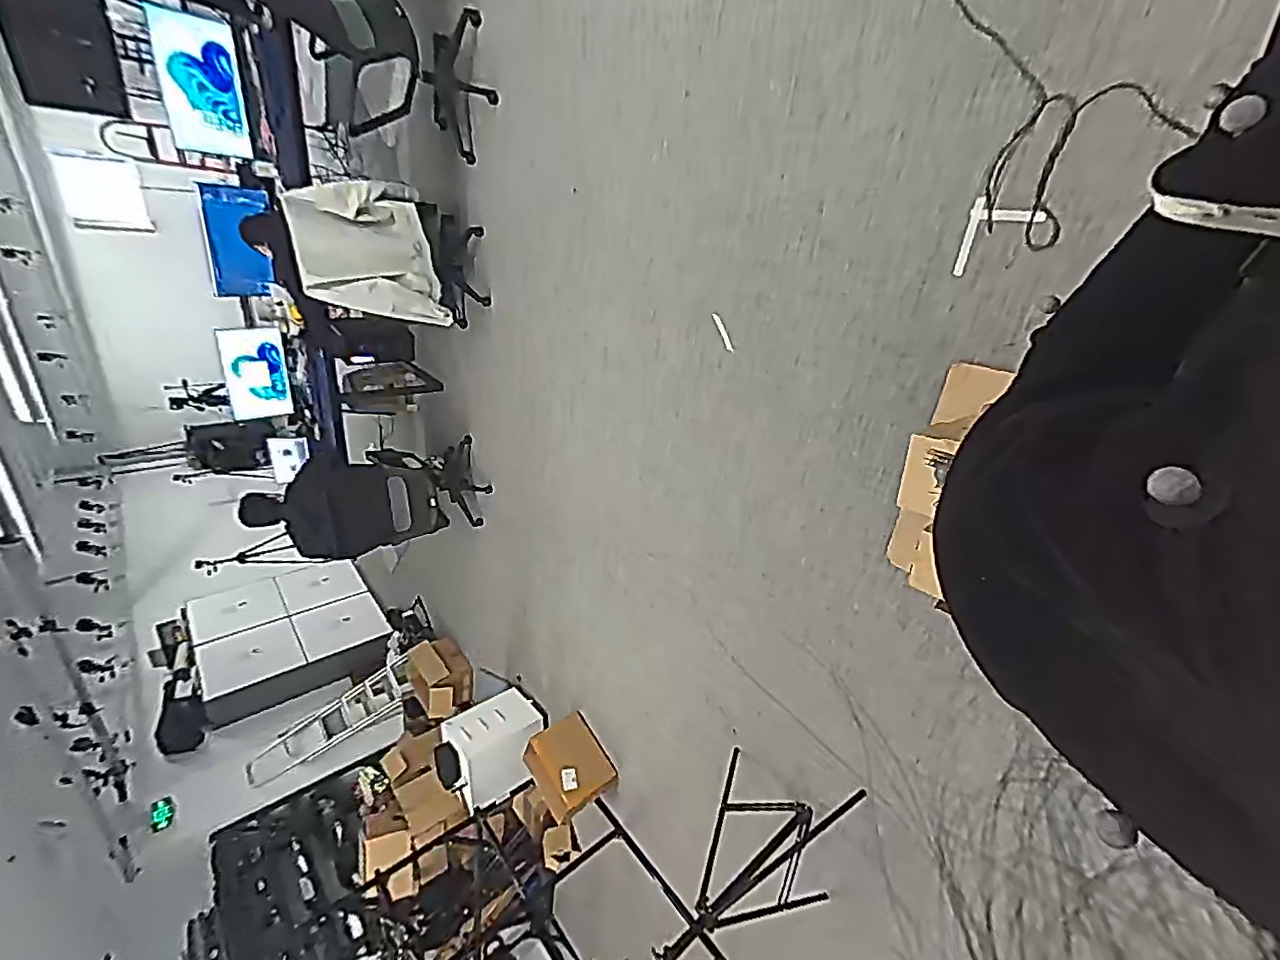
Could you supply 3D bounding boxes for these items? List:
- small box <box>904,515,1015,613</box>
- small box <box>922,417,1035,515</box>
[{"bbox_3d":[0.811,0.202,1.374,0.179,0.176,0.168,25,122,43],"label":"small box"},{"bbox_3d":[0.811,-0.044,1.291,0.168,0.176,0.179,26,121,43],"label":"small box"}]
